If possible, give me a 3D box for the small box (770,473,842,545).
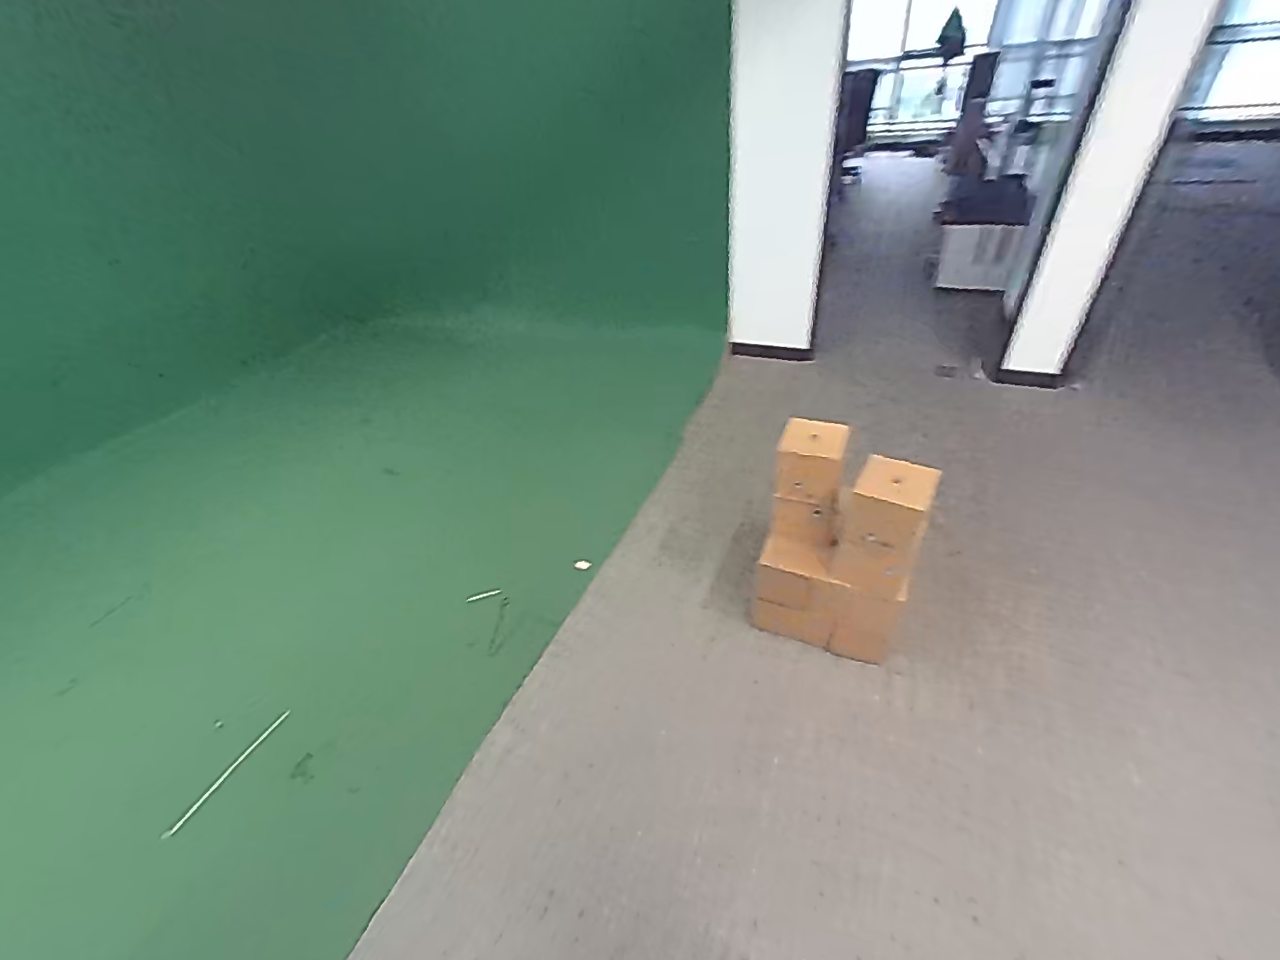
[{"bbox_3d":[0.505,0.076,1.649,0.179,0.176,0.168,11,39,21],"label":"small box"}]

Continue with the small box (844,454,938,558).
[{"bbox_3d":[0.632,0.065,1.375,0.168,0.176,0.179,19,44,28],"label":"small box"}]

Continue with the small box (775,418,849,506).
[{"bbox_3d":[0.489,-0.054,1.550,0.168,0.176,0.179,12,42,23],"label":"small box"}]
